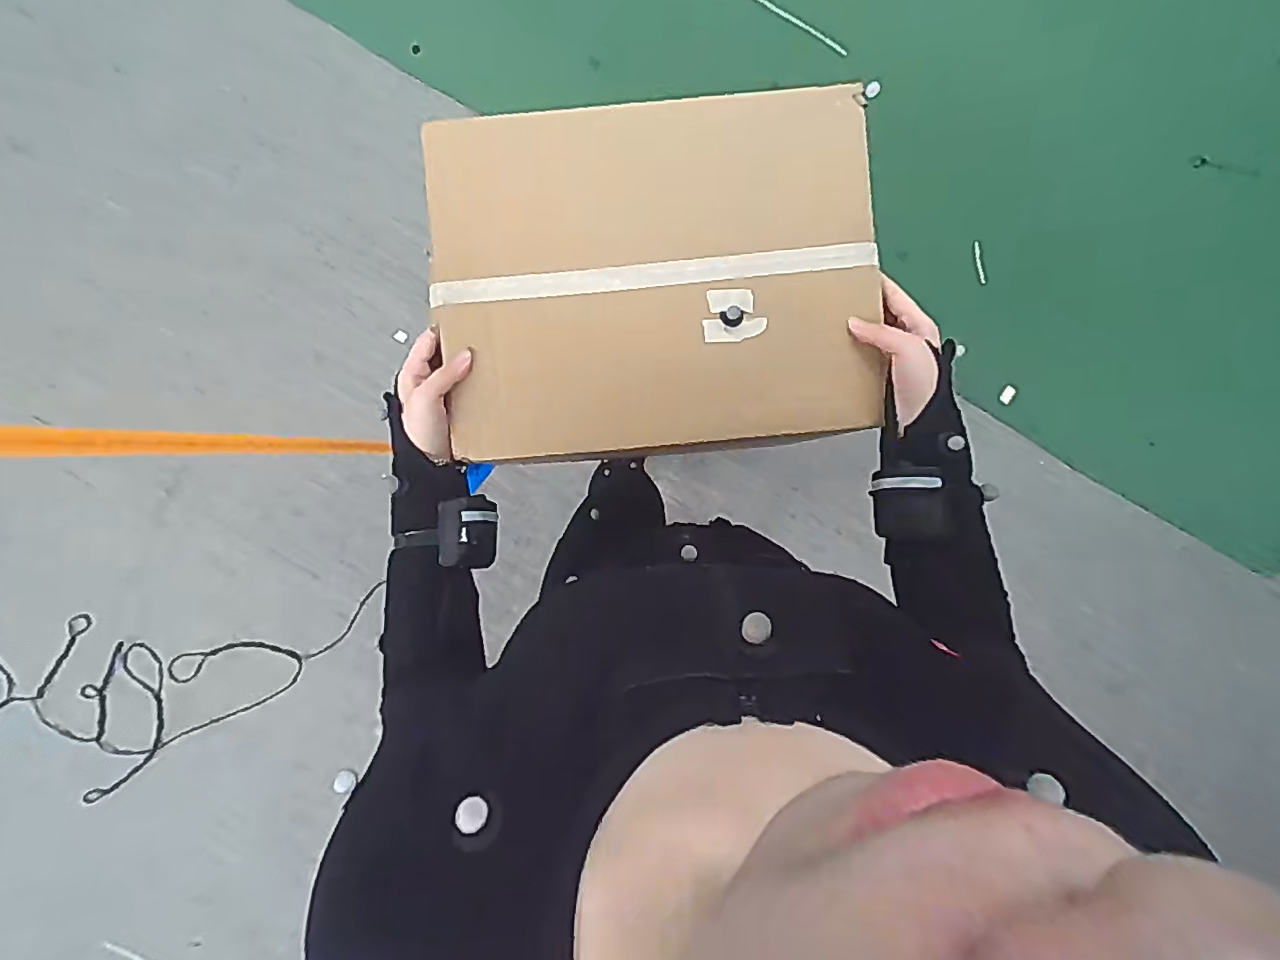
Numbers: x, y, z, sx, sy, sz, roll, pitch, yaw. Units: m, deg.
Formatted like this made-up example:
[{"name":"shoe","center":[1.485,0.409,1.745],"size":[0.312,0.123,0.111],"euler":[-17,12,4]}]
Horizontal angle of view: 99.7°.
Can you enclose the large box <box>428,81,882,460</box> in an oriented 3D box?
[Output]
[{"name":"large box","center":[0.012,-0.201,0.651],"size":[0.408,0.320,0.320],"euler":[-5,92,-1]}]

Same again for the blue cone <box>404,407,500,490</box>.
[{"name":"blue cone","center":[-0.489,-0.085,1.325],"size":[0.193,0.380,0.192],"euler":[39,90,-1]}]
